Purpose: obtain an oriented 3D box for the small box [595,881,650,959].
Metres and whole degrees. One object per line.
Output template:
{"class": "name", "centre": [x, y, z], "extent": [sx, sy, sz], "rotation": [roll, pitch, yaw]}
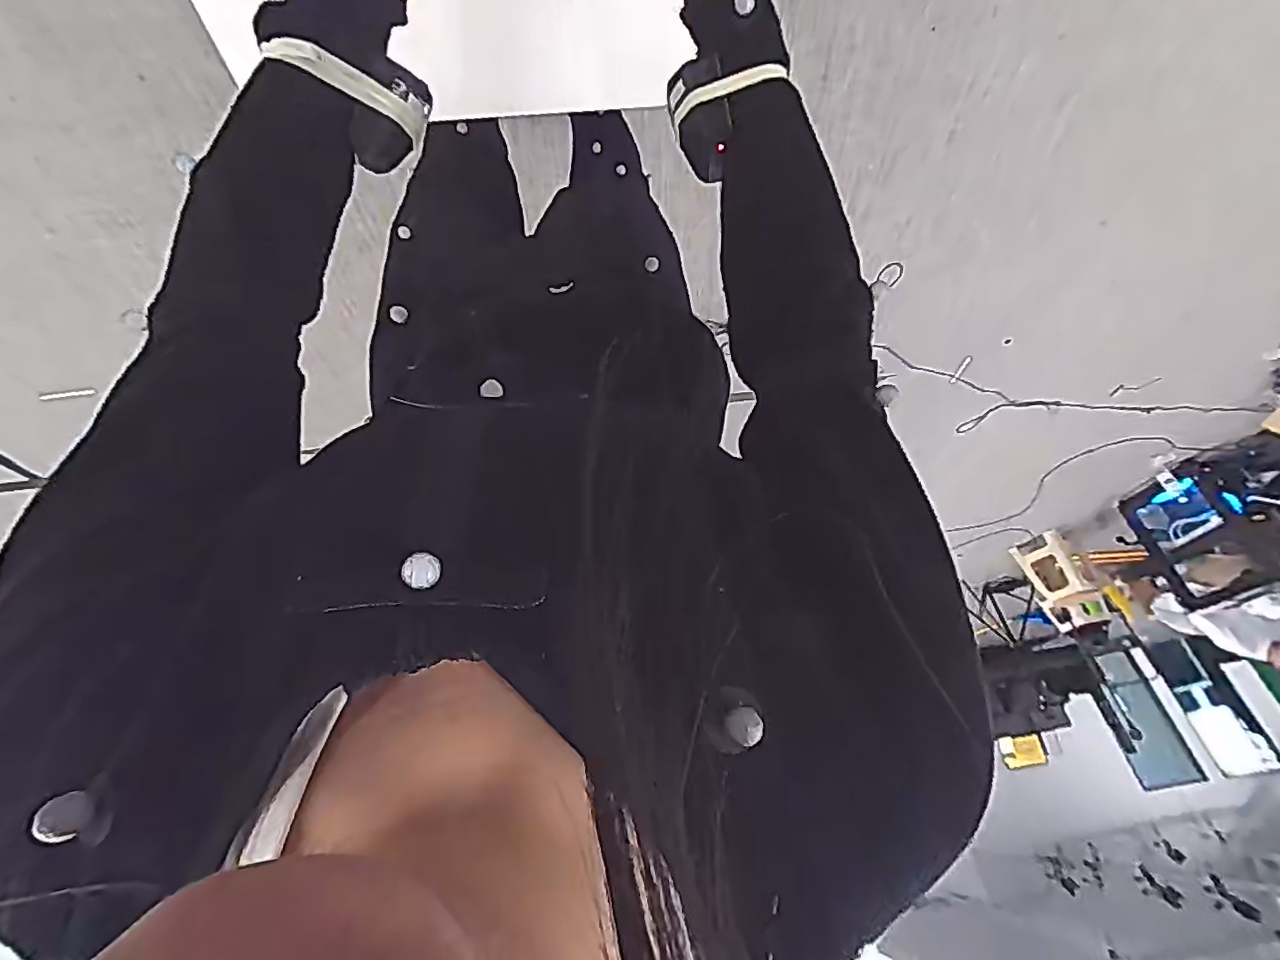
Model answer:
{"class": "small box", "centre": [-0.062, 1.492, 1.841], "extent": [0.168, 0.176, 0.179], "rotation": [-6, 149, -5]}
